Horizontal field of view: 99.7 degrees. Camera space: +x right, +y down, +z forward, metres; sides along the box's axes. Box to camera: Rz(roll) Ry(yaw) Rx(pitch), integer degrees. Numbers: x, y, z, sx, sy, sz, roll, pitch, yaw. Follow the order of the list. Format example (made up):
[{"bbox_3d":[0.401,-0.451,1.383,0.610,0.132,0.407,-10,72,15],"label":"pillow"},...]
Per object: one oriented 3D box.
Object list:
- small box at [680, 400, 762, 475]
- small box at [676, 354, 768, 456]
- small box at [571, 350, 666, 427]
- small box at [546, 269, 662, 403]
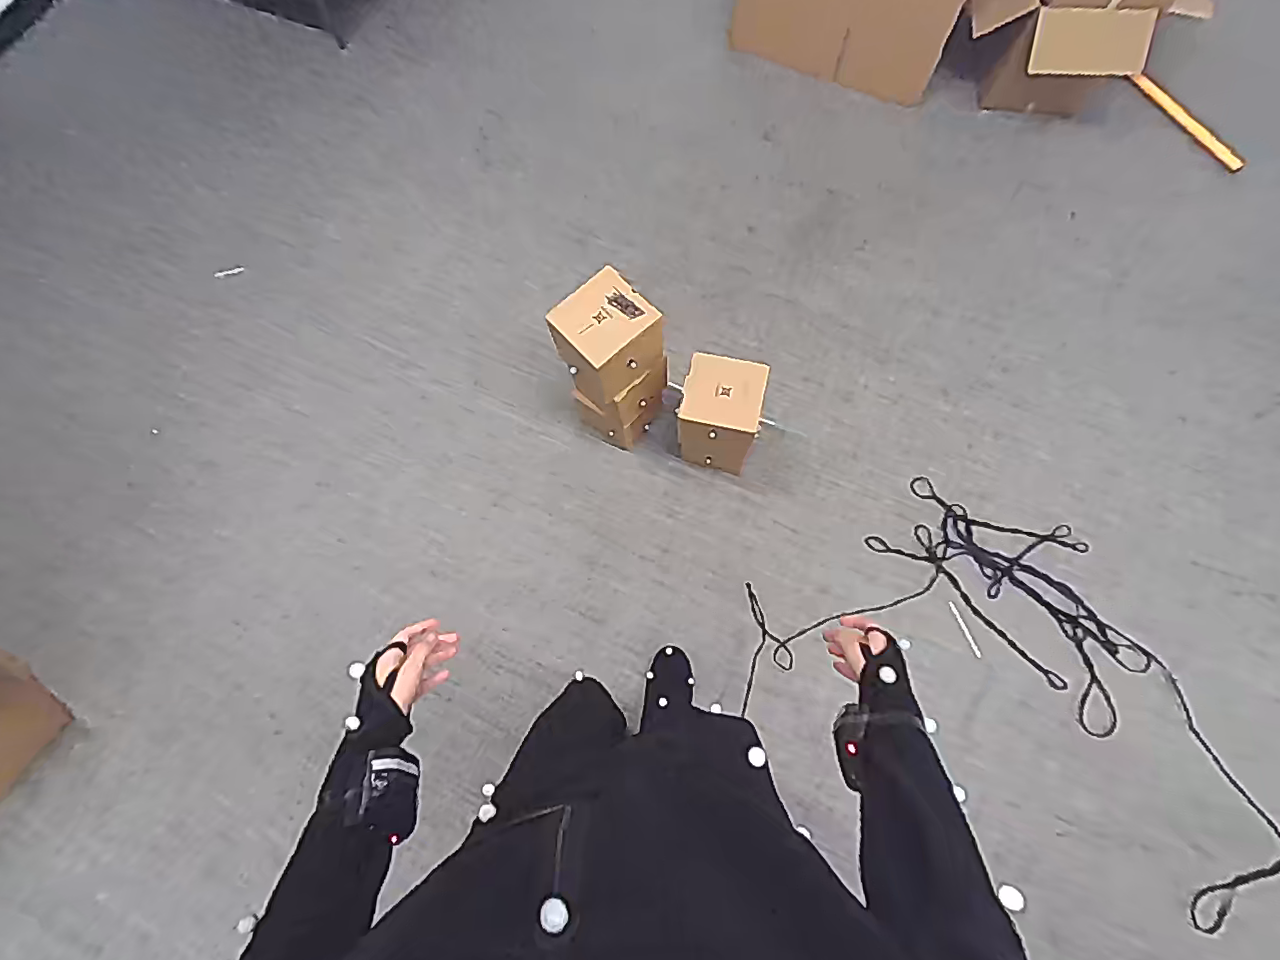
[{"bbox_3d":[0.209,-0.130,1.418,0.168,0.176,0.179,17,75,9],"label":"small box"},{"bbox_3d":[0.186,-0.168,1.261,0.179,0.176,0.168,13,75,8],"label":"small box"},{"bbox_3d":[-0.055,-0.258,1.308,0.179,0.176,0.168,42,80,13],"label":"small box"},{"bbox_3d":[-0.071,-0.299,1.149,0.179,0.176,0.168,-41,76,-8],"label":"small box"}]
